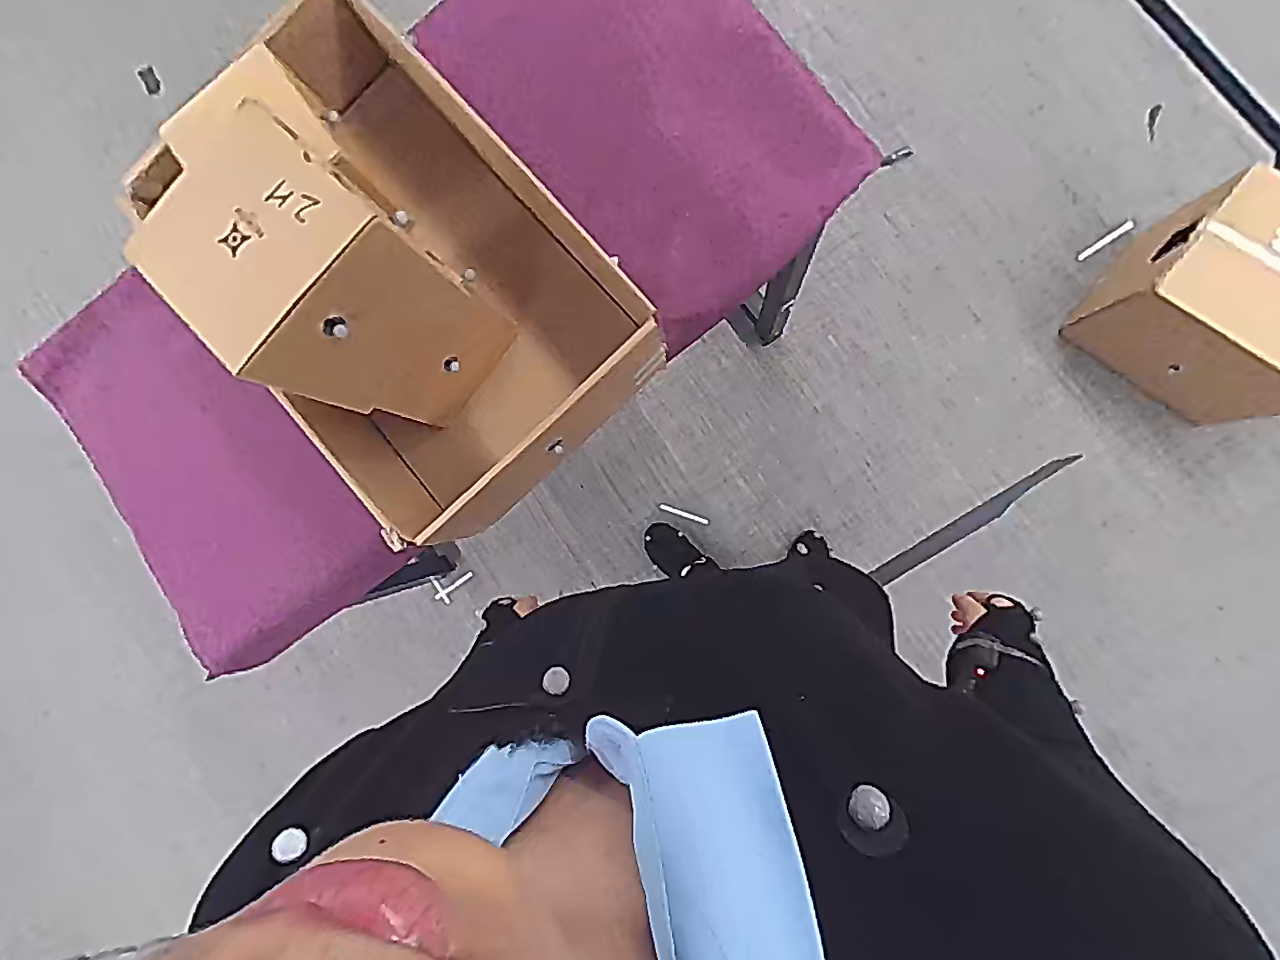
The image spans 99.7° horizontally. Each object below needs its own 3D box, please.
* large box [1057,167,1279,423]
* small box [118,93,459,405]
[{"bbox_3d":[1.275,-0.374,1.189,0.408,0.320,0.320,37,93,8],"label":"large box"},{"bbox_3d":[-0.310,-0.195,0.513,0.168,0.176,0.179,44,93,9],"label":"small box"}]
